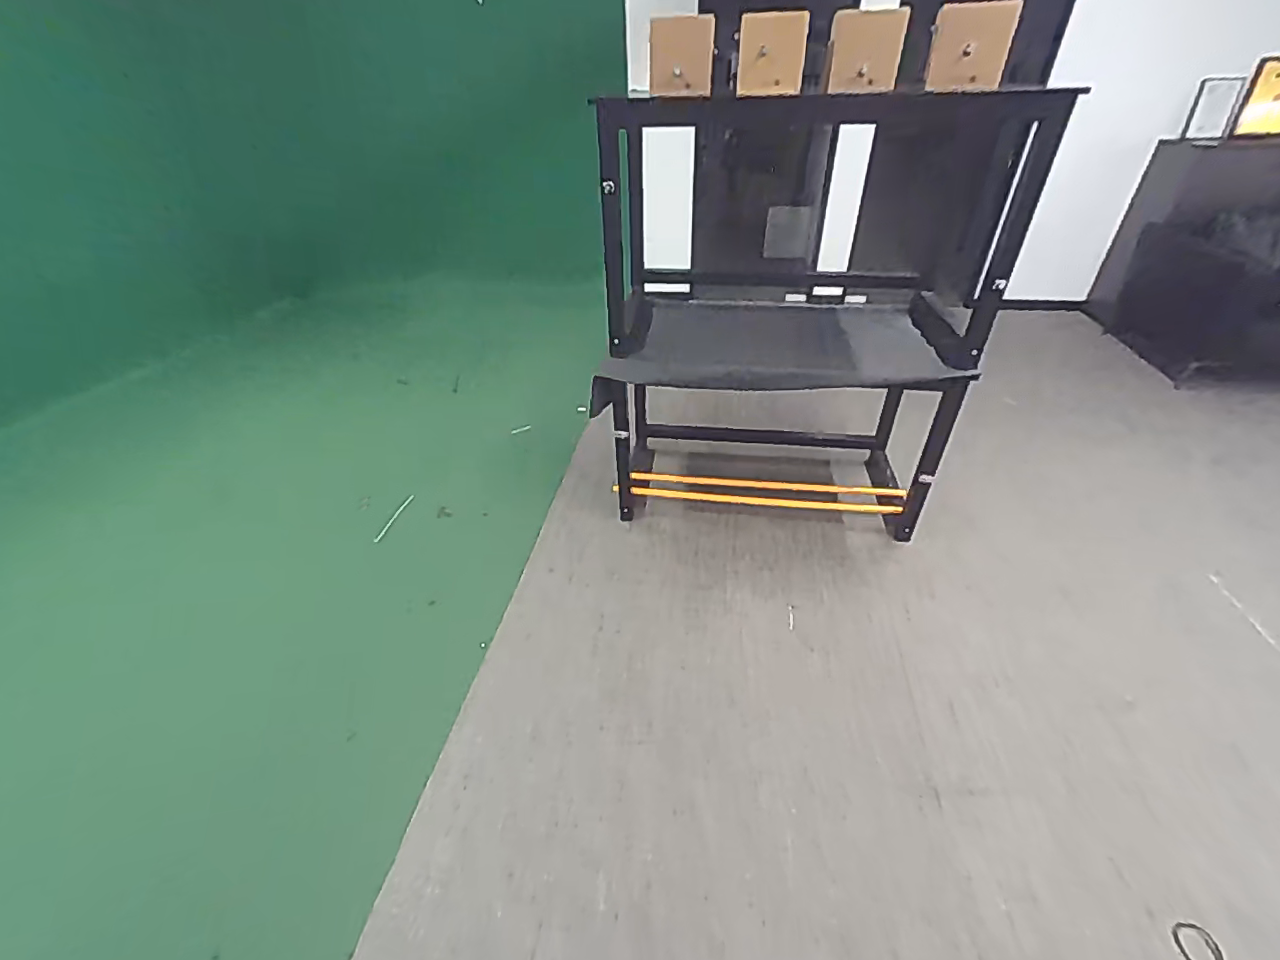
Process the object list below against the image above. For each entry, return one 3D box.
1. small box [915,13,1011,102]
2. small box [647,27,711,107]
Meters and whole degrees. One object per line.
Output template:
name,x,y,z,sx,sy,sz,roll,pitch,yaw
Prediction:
small box,0.822,-1.084,1.395,0.168,0.176,0.179,11,38,16
small box,0.109,-1.145,1.502,0.168,0.176,0.179,3,38,6
